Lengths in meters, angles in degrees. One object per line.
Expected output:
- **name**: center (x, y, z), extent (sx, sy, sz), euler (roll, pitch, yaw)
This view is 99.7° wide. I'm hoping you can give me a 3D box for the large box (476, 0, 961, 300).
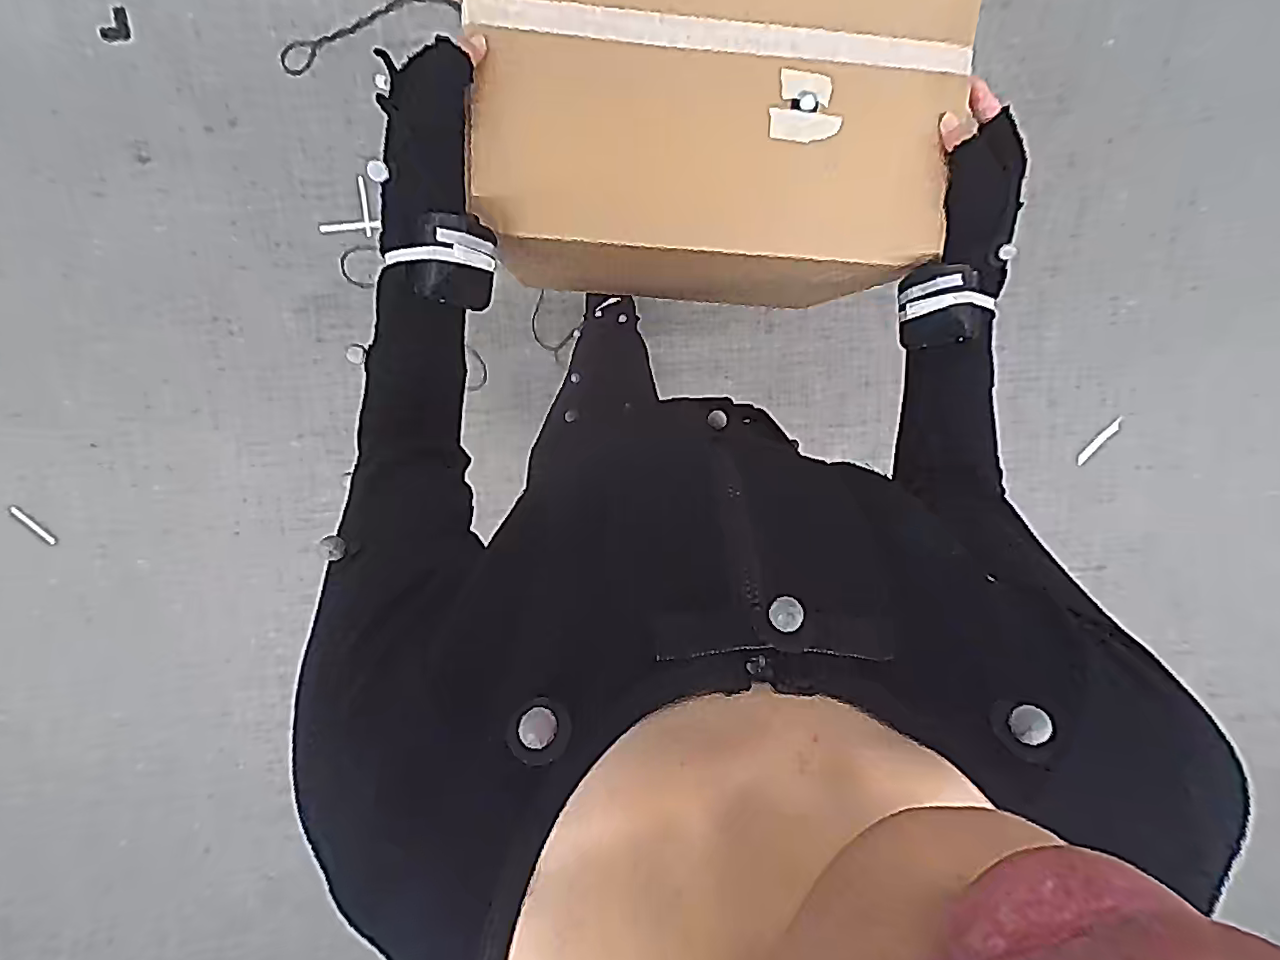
- **large box**: center (0.053, -0.384, 0.590), extent (0.408, 0.320, 0.320), euler (2, 102, -5)
